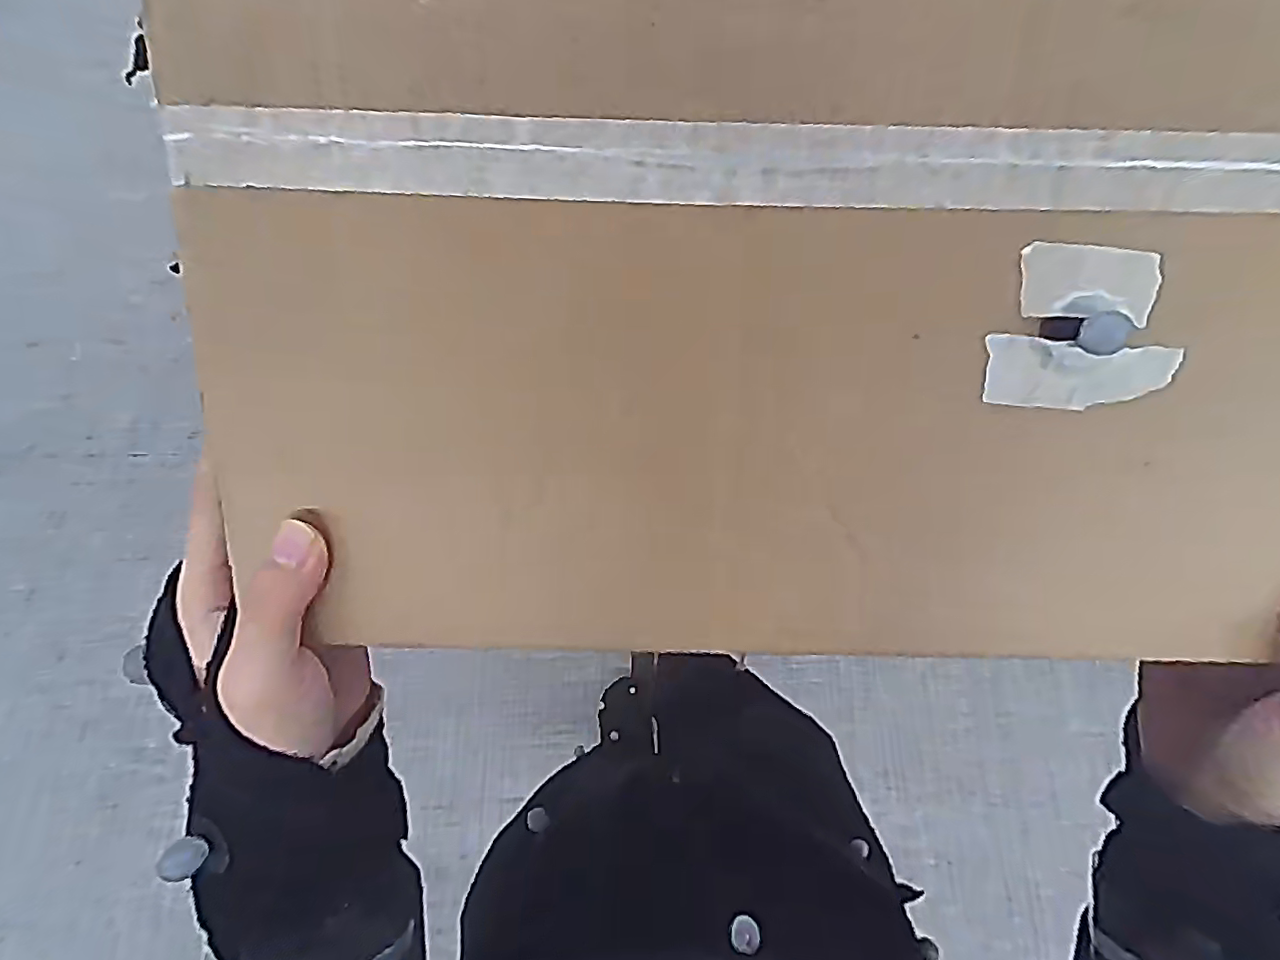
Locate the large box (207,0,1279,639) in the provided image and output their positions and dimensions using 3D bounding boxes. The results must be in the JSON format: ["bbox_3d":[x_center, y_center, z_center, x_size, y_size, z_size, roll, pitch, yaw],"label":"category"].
[{"bbox_3d":[0.064,-0.121,0.319,0.408,0.320,0.320,1,102,-2],"label":"large box"}]
